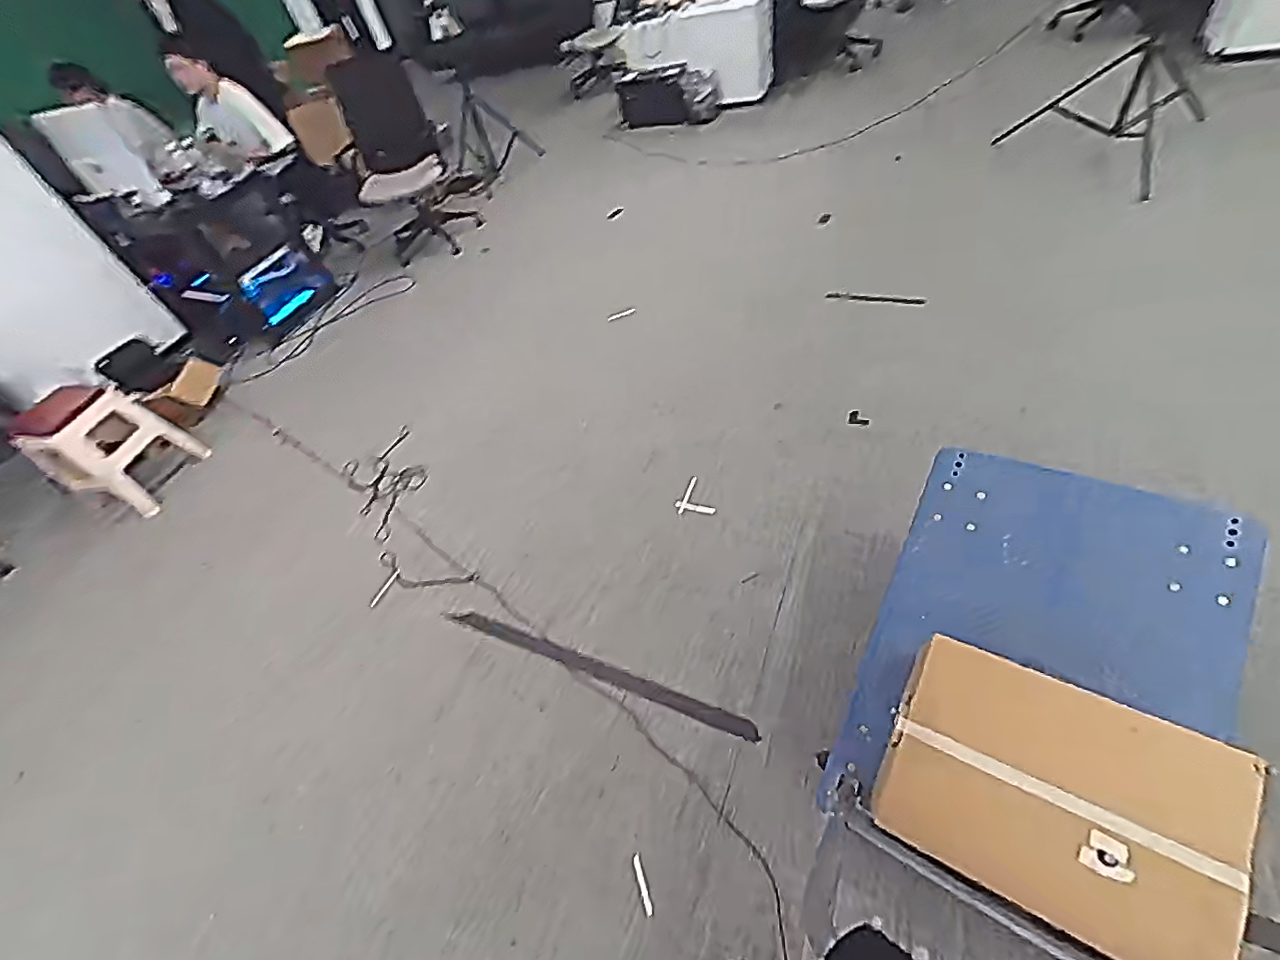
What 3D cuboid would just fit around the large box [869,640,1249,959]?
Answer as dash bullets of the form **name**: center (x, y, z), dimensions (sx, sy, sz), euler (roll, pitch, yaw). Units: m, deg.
- **large box**: center (0.640, 0.513, 0.910), dimensions (0.408, 0.320, 0.320), euler (19, 76, 28)
